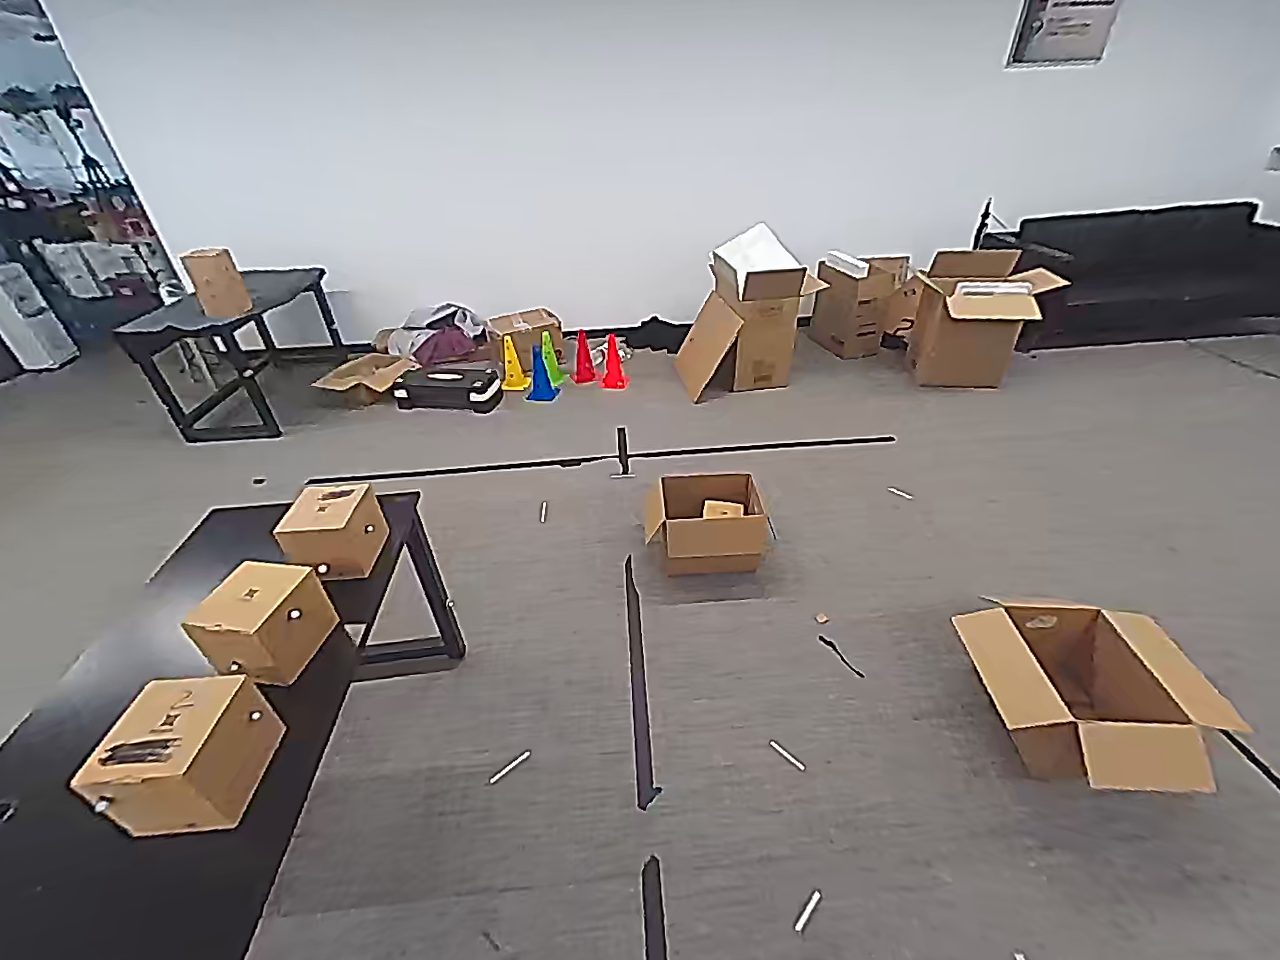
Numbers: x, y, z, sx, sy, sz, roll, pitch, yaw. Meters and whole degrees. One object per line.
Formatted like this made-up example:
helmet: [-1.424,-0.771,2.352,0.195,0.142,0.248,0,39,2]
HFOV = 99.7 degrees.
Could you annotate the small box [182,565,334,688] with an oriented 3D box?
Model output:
small box: [-0.776,0.302,1.127,0.168,0.176,0.179,2,36,9]

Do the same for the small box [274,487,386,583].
small box: [-0.761,0.138,1.354,0.168,0.176,0.179,-4,37,-1]
